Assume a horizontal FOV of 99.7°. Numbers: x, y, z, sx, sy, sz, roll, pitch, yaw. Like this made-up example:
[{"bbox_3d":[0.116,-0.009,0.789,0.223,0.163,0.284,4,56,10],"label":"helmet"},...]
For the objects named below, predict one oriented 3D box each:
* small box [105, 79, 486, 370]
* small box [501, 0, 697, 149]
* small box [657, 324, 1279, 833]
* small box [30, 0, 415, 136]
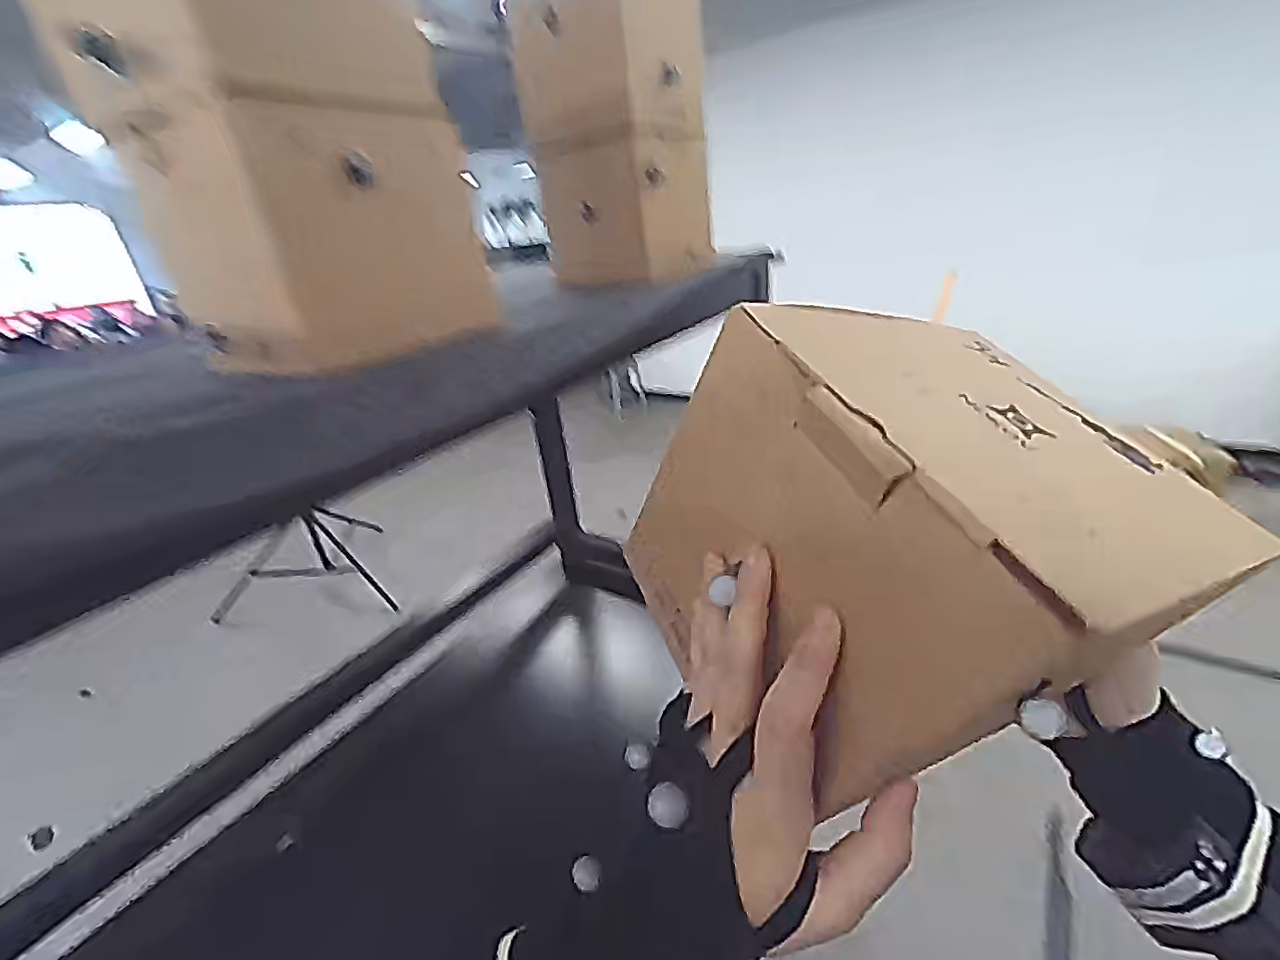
[{"bbox_3d":[-0.252,-0.191,0.435,0.168,0.176,0.179,8,29,30],"label":"small box"},{"bbox_3d":[-0.045,-0.524,0.677,0.179,0.176,0.168,13,34,35],"label":"small box"},{"bbox_3d":[0.124,0.042,0.272,0.179,0.176,0.168,-5,47,-28],"label":"small box"},{"bbox_3d":[-0.282,-0.336,0.368,0.168,0.176,0.179,4,29,26],"label":"small box"}]
